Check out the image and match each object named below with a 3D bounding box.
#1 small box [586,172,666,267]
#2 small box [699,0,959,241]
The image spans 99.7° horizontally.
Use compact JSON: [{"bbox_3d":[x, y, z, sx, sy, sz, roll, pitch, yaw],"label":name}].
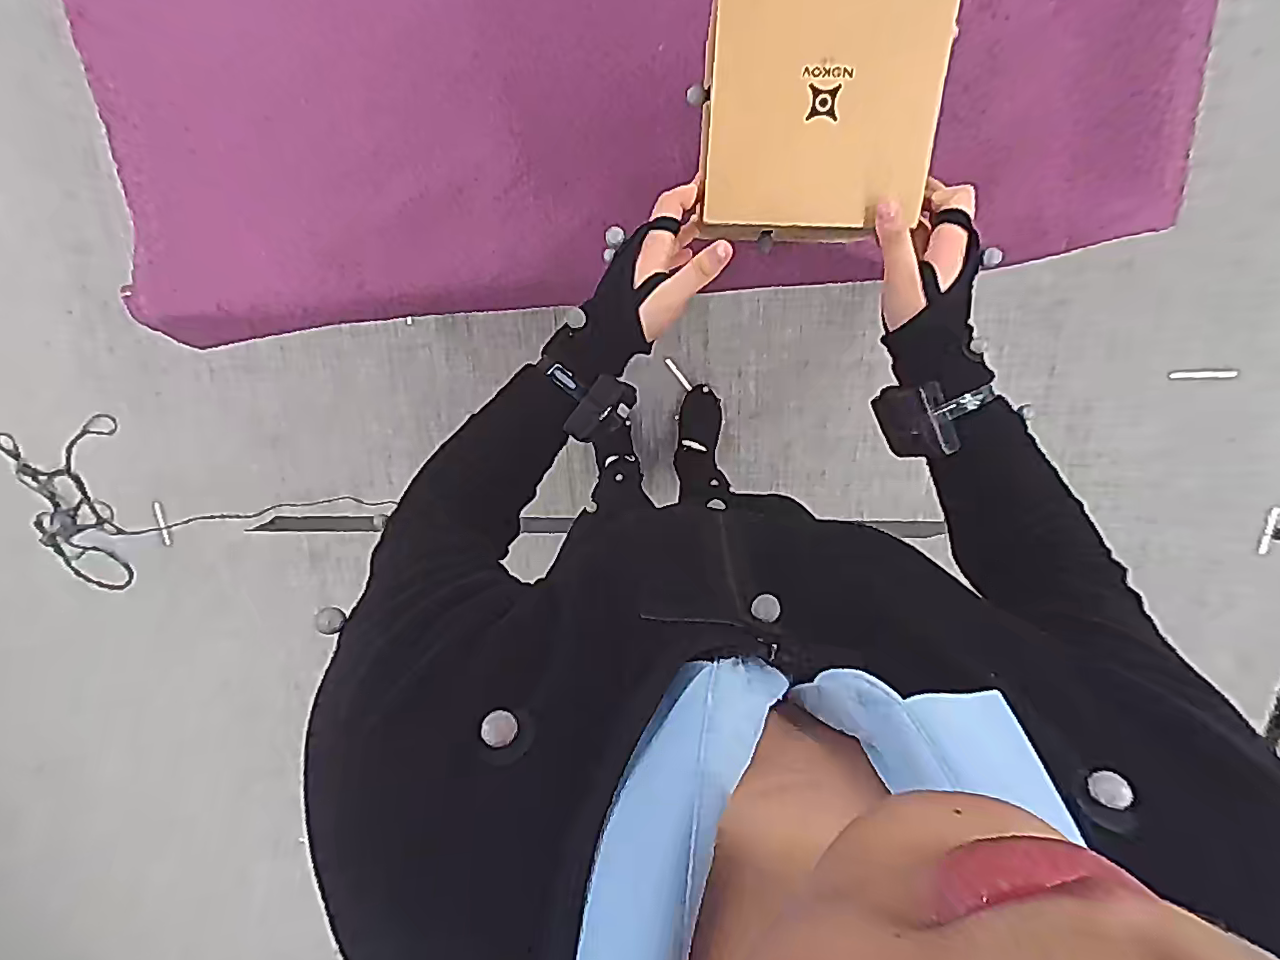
[{"bbox_3d":[-0.026,-0.586,1.237,0.168,0.176,0.179,-1,107,4],"label":"small box"},{"bbox_3d":[0.140,-0.307,0.465,0.168,0.176,0.179,3,110,3],"label":"small box"}]
